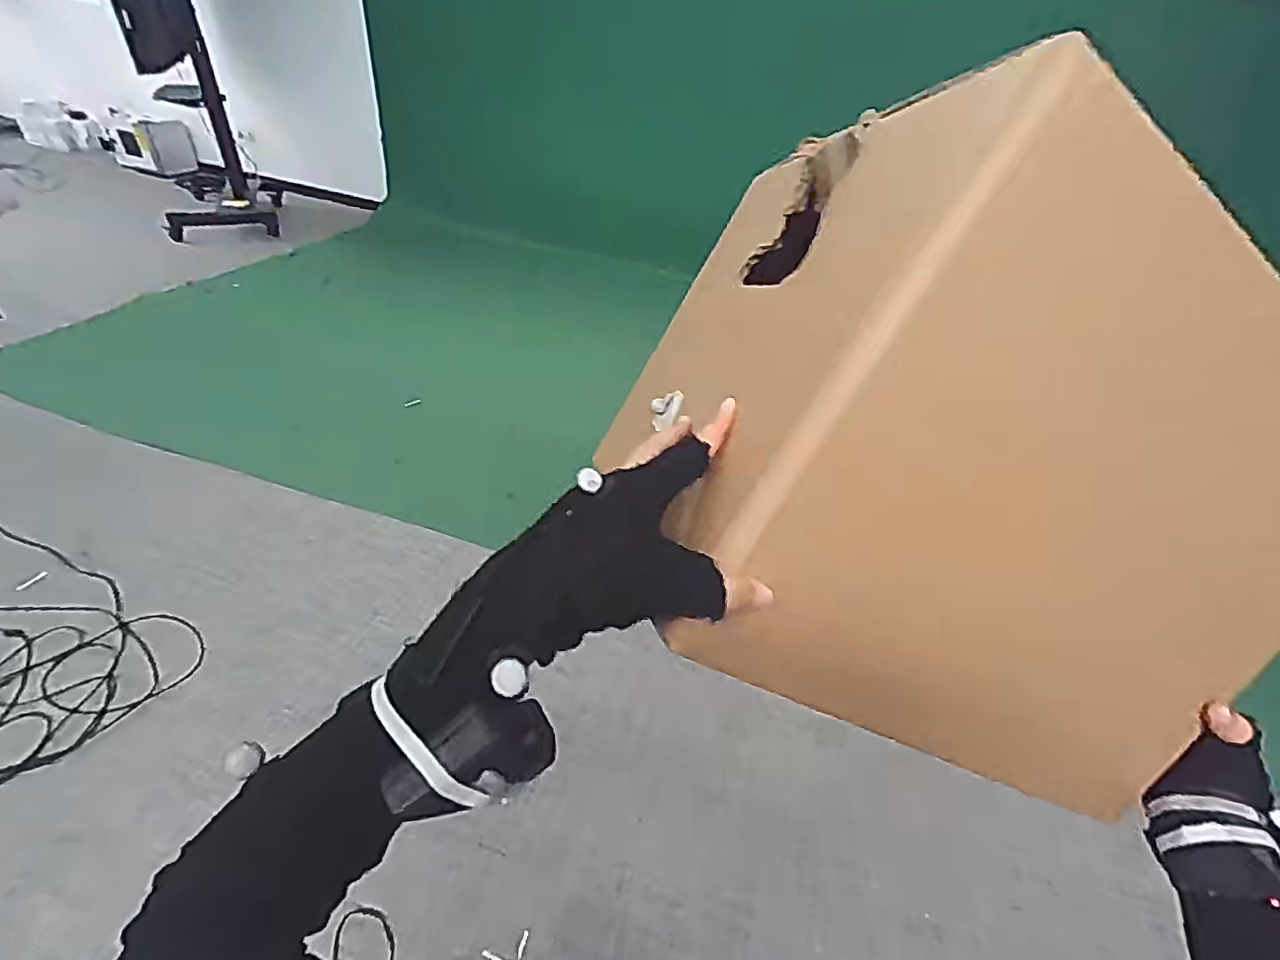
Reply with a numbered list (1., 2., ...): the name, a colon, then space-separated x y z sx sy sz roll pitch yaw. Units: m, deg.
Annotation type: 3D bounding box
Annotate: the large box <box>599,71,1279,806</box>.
1. large box: 0.226 -0.006 0.451 0.408 0.320 0.320 28 13 -20
